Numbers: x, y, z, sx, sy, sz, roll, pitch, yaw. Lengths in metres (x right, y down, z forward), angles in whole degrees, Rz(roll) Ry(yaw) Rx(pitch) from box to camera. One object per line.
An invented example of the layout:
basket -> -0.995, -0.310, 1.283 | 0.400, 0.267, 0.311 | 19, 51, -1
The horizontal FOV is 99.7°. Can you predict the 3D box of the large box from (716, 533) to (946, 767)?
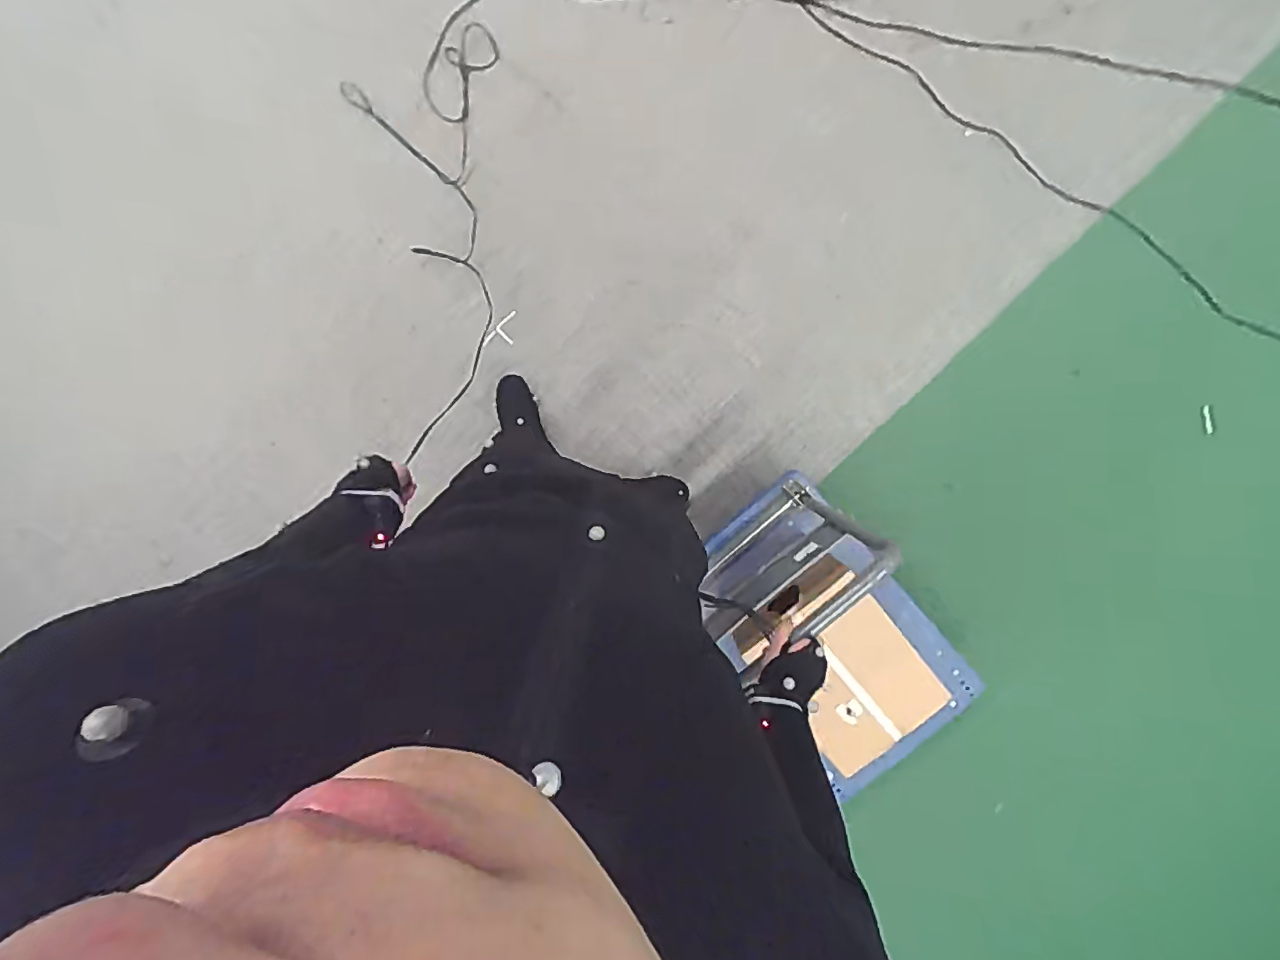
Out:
large box -> 0.454, 0.405, 1.367 | 0.320, 0.320, 0.408 | -39, 99, 5
